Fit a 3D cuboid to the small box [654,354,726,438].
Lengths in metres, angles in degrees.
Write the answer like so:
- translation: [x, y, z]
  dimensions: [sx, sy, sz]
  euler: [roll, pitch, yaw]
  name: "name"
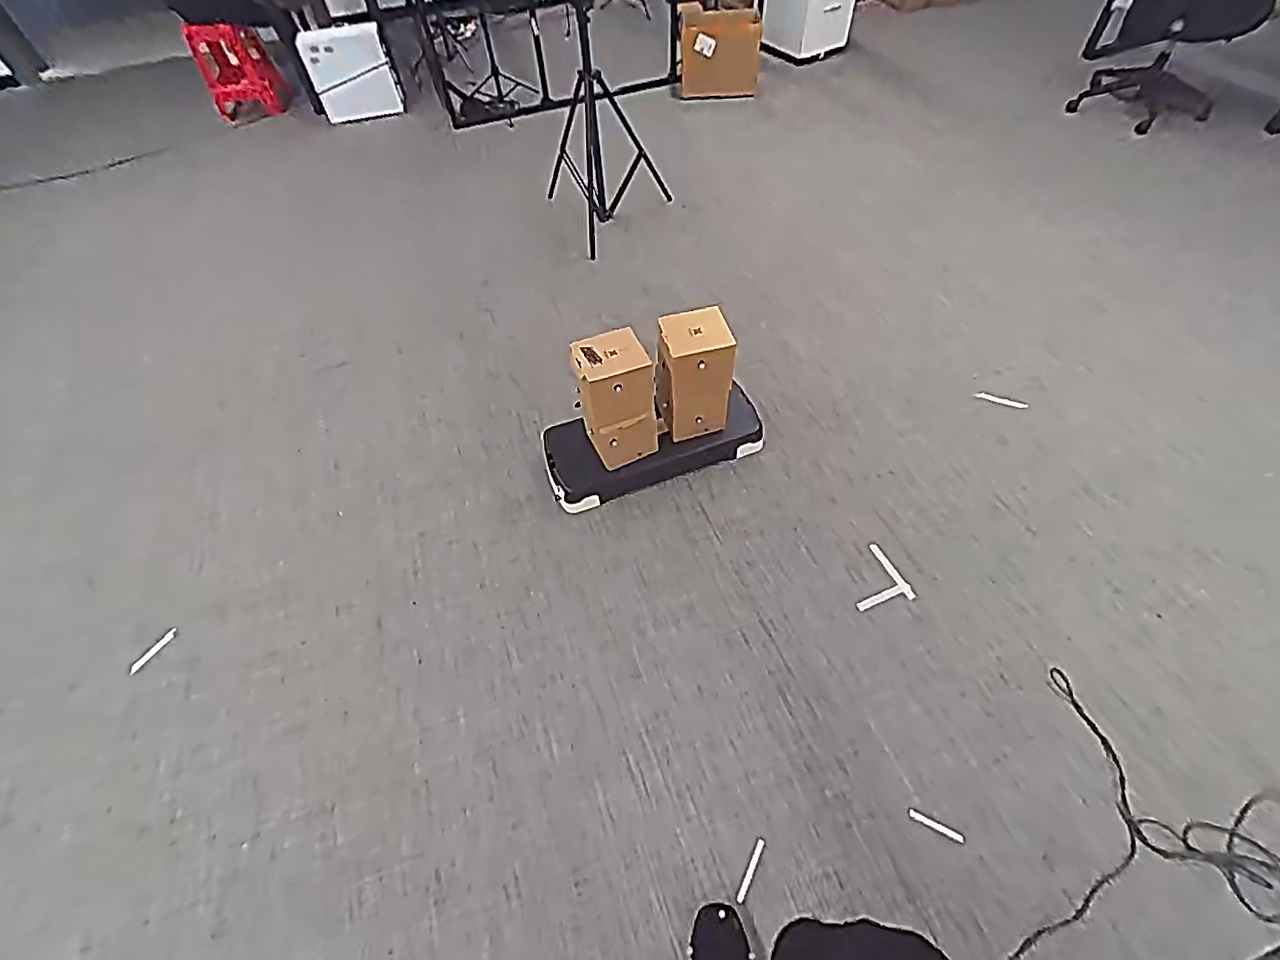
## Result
- translation: [0.148, -0.244, 1.618]
  dimensions: [0.168, 0.176, 0.179]
  euler: [-15, 55, -7]
  name: "small box"
